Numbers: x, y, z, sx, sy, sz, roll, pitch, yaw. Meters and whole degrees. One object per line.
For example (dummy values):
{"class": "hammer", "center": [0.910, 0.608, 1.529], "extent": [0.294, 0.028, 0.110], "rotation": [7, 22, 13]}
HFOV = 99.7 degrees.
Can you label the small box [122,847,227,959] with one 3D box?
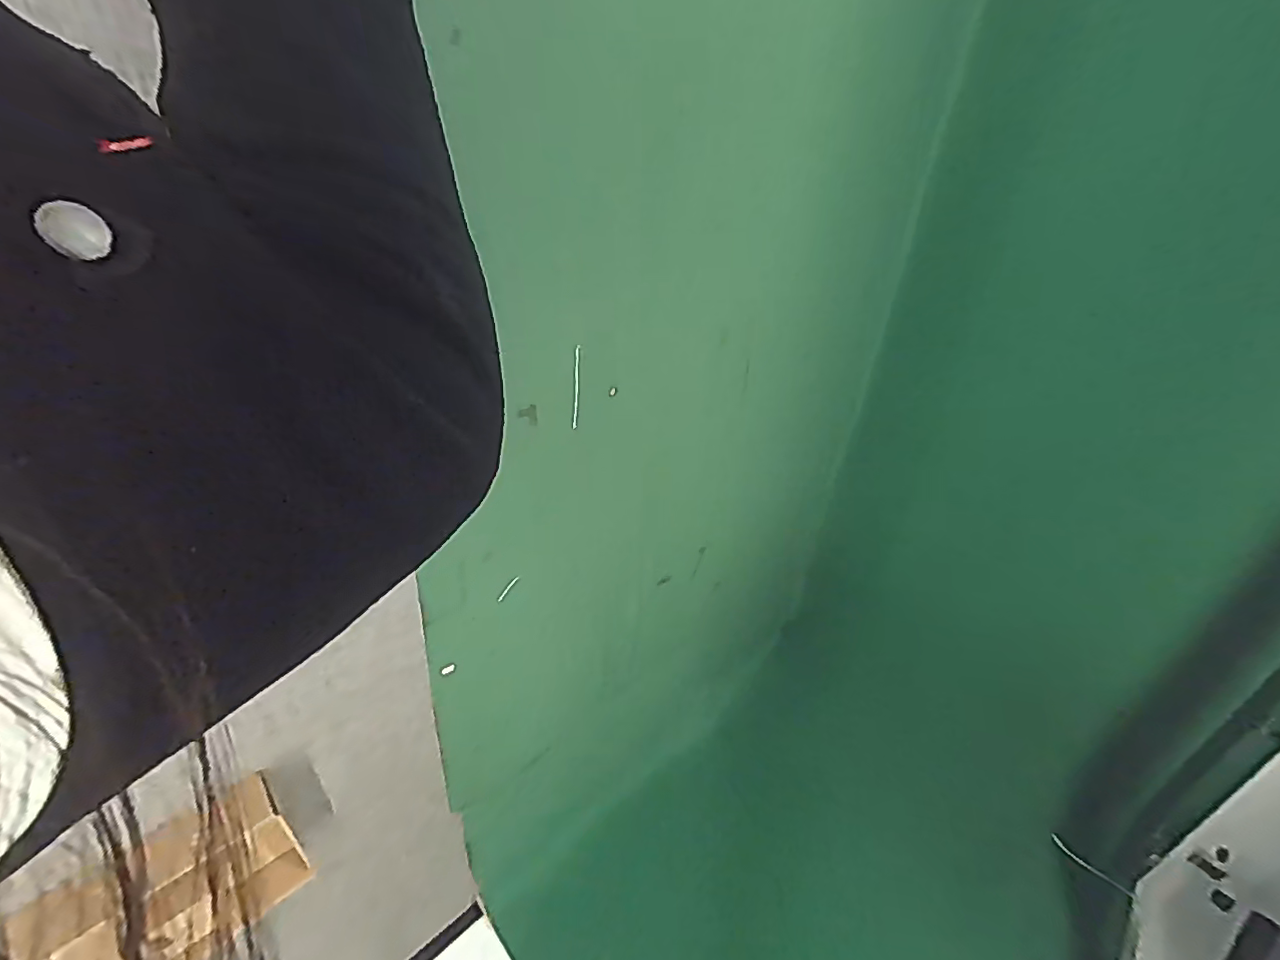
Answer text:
{"class": "small box", "center": [-1.313, 1.196, 1.521], "extent": [0.179, 0.176, 0.168], "rotation": [-28, 134, -39]}
